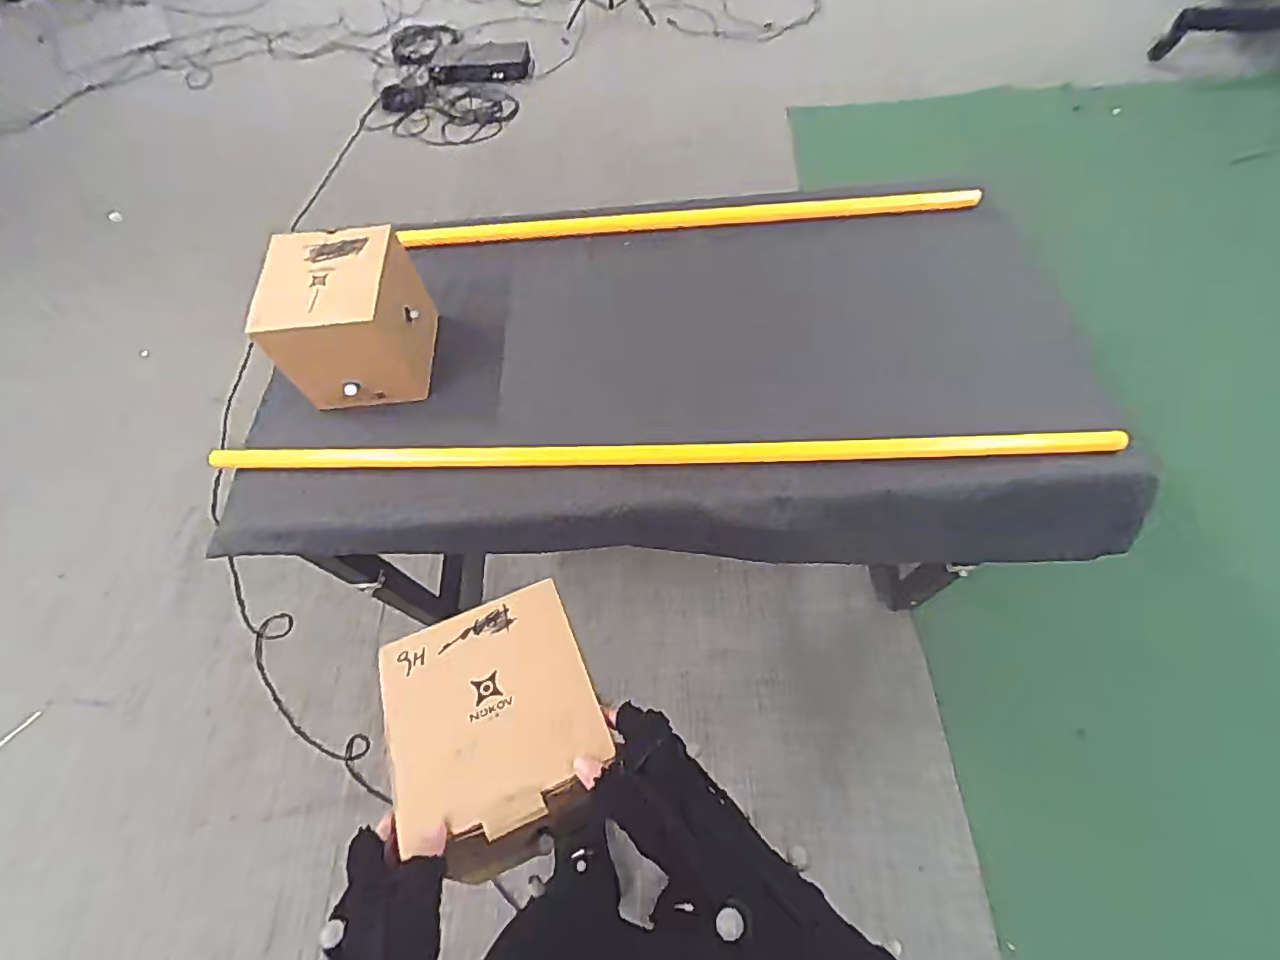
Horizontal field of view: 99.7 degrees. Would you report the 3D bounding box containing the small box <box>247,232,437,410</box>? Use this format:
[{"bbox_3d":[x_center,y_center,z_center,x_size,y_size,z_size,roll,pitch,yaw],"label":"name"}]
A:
[{"bbox_3d":[-0.409,-0.223,0.780,0.168,0.176,0.179,-5,62,1],"label":"small box"}]

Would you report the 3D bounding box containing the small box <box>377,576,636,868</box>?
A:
[{"bbox_3d":[-0.116,0.228,0.504,0.168,0.176,0.179,-24,51,-11],"label":"small box"}]
